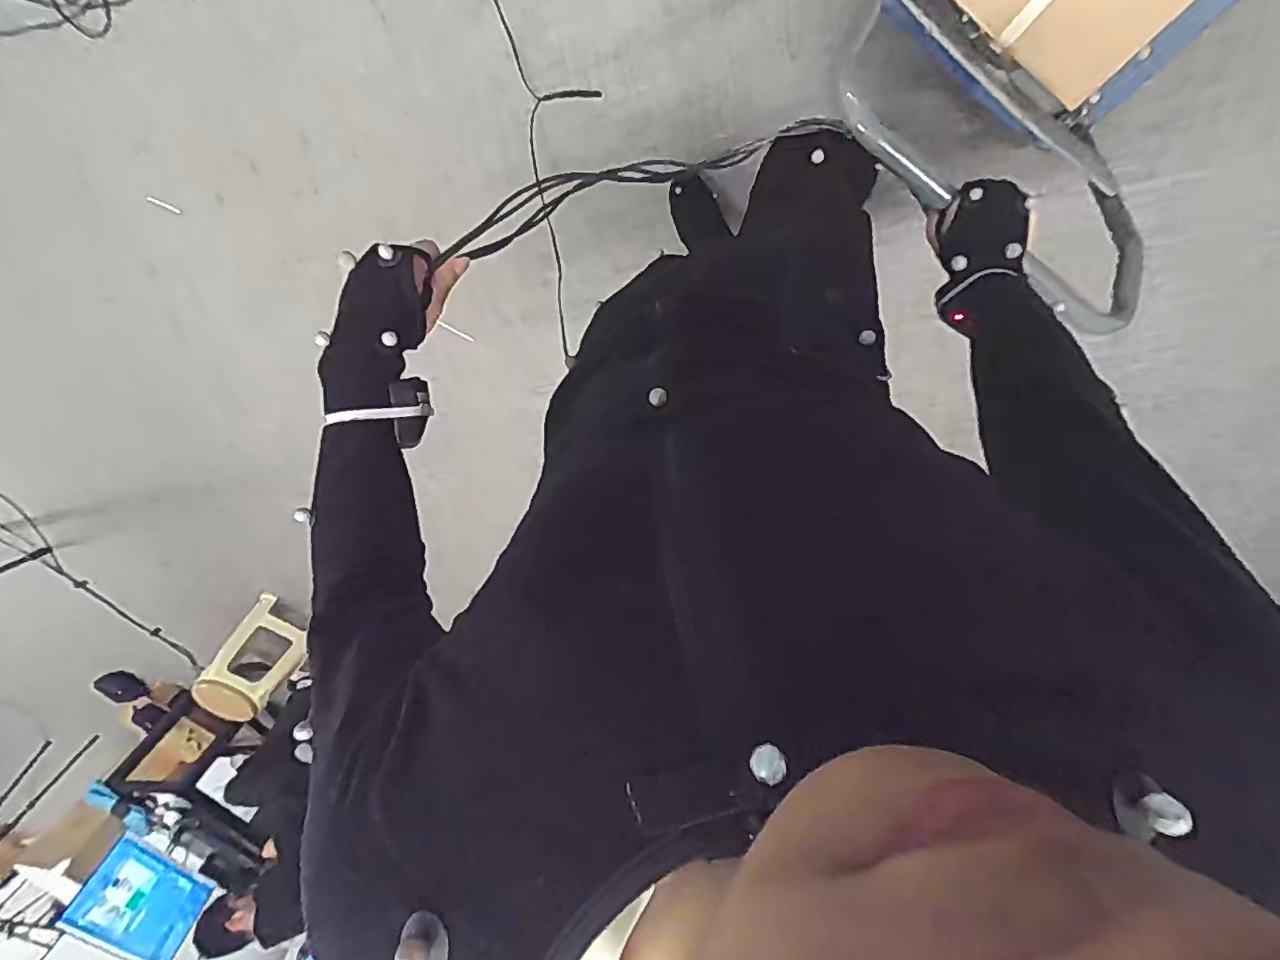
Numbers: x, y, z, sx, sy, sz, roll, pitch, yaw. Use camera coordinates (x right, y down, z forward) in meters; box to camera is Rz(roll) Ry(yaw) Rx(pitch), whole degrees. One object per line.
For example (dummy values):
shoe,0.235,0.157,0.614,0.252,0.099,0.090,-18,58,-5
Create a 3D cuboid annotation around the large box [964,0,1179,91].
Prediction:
large box,0.644,-0.843,0.716,0.320,0.320,0.408,29,139,-10
